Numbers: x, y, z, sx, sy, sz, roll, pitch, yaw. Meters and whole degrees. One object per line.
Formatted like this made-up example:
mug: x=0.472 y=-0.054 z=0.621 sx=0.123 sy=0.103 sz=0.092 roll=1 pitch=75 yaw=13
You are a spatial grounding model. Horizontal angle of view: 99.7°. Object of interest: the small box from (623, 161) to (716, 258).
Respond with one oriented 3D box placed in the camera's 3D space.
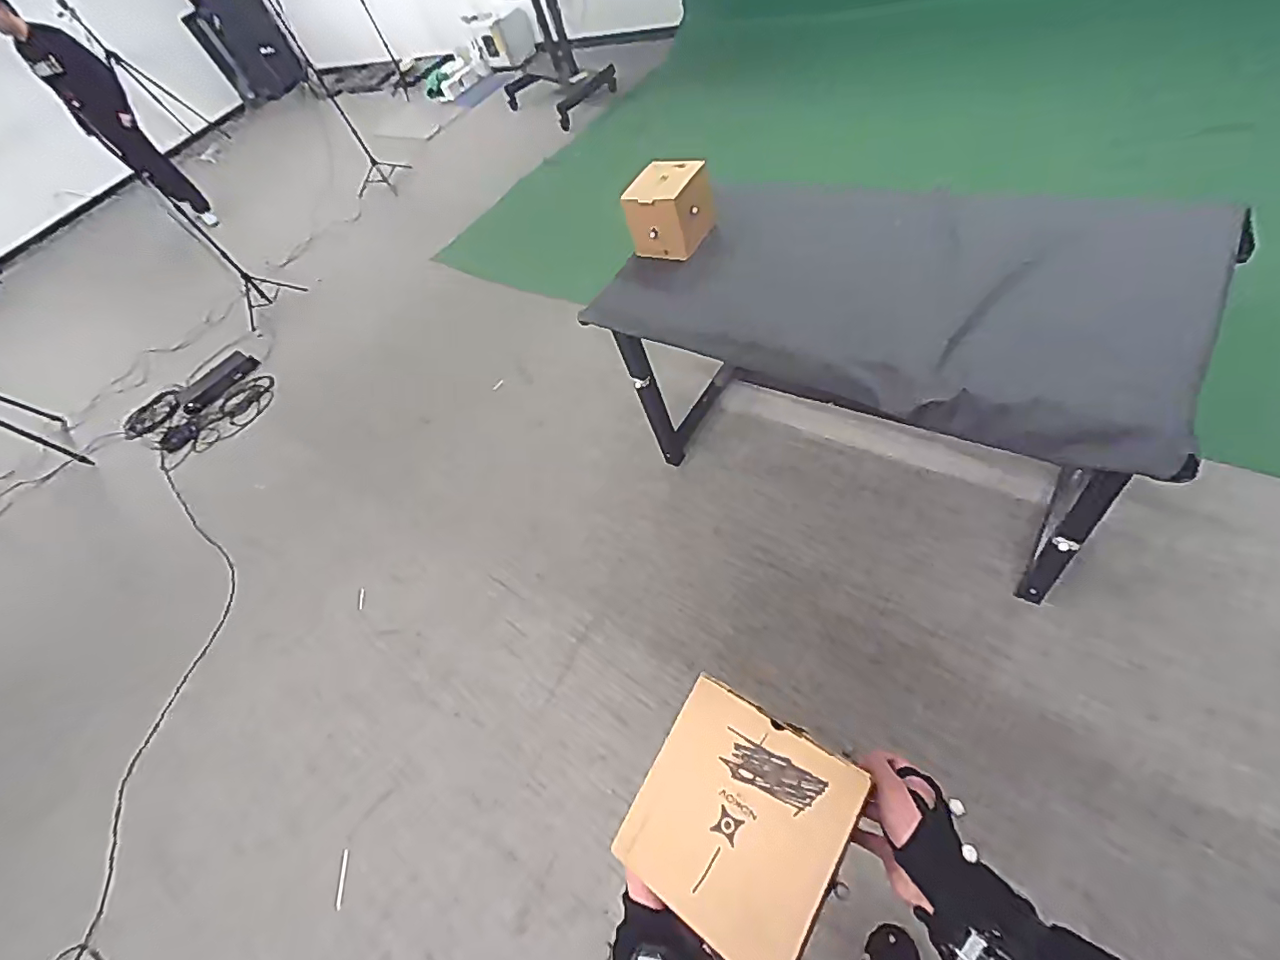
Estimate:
small box: x=0.086 y=-0.714 z=1.433 sx=0.168 sy=0.176 sz=0.179 roll=19 pitch=64 yaw=29
